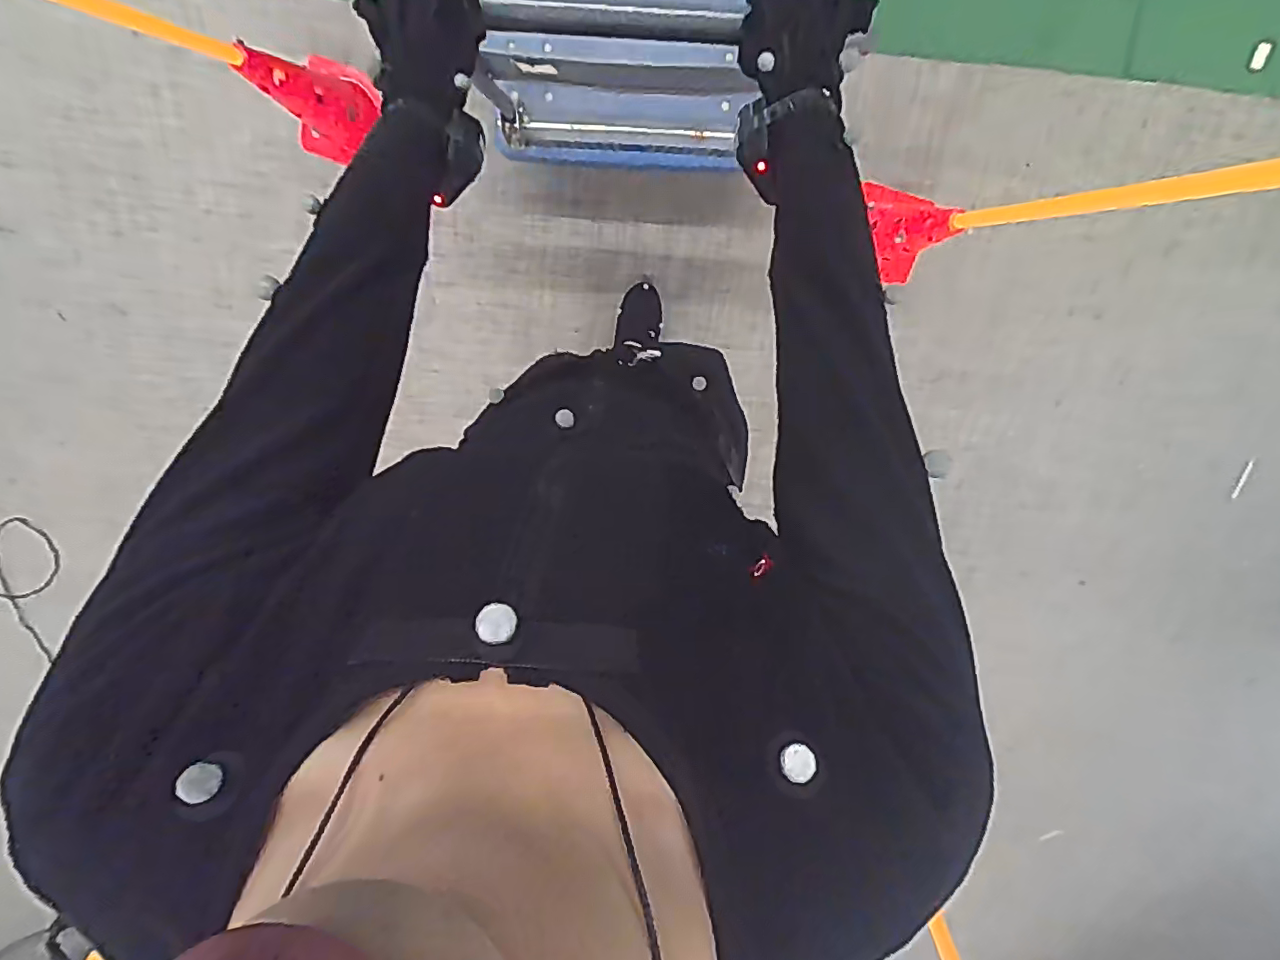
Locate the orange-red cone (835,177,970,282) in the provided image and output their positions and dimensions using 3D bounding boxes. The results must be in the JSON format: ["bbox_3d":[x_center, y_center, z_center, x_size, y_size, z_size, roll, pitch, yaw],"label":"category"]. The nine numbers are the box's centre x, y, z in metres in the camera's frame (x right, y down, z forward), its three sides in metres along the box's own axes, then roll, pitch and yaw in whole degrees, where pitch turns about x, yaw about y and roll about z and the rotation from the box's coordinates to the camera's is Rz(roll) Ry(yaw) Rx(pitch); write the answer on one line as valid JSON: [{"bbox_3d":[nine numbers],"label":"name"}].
[{"bbox_3d":[0.583,-0.536,1.136,0.198,0.360,0.199,16,111,-4],"label":"orange-red cone"}]
